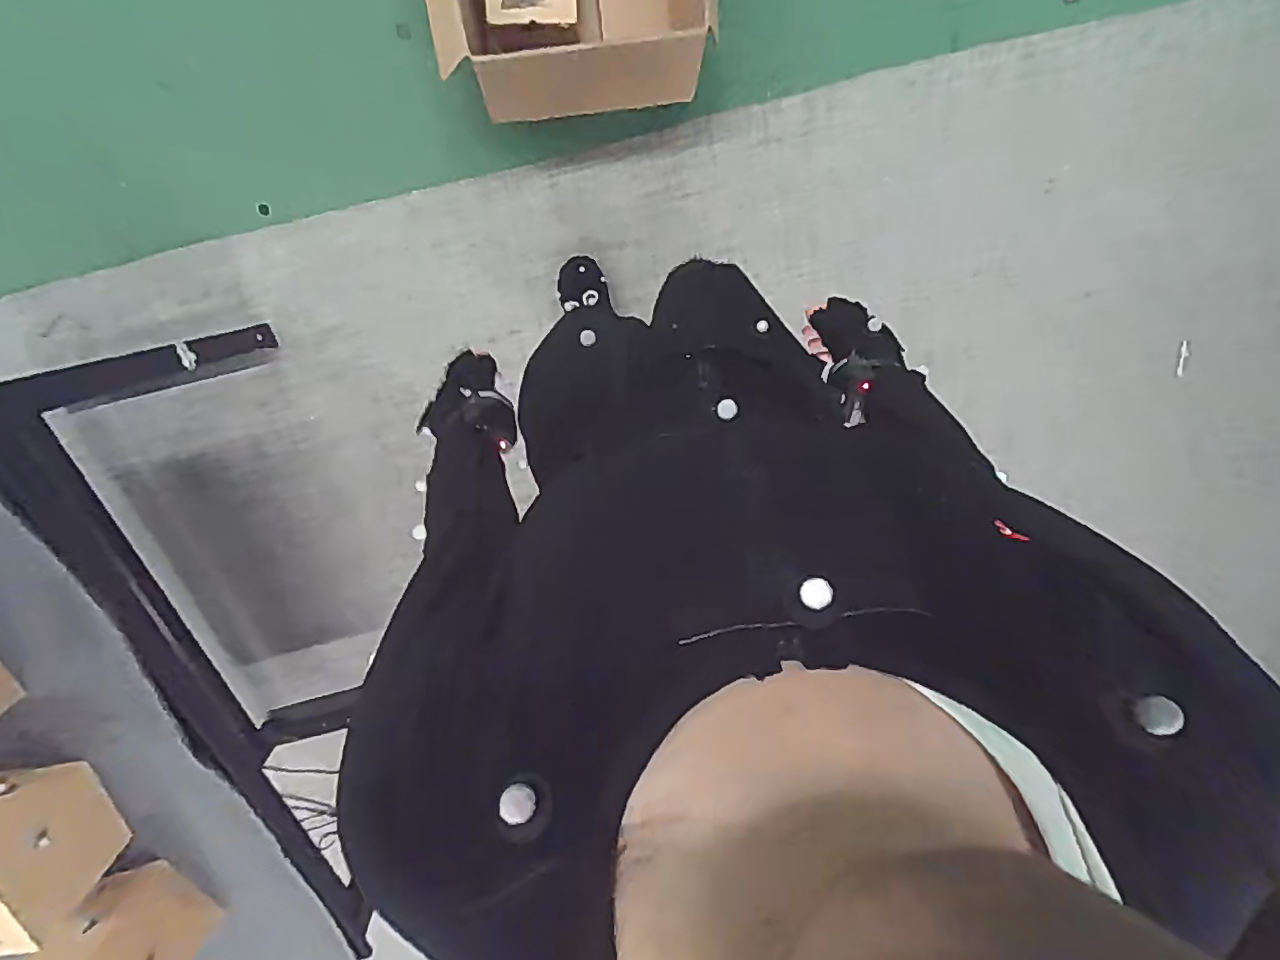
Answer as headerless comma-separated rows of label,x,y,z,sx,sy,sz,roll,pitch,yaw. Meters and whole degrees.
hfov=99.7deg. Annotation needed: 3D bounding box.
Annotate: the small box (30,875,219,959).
small box,-0.851,0.782,0.877,0.168,0.176,0.179,-20,113,1
